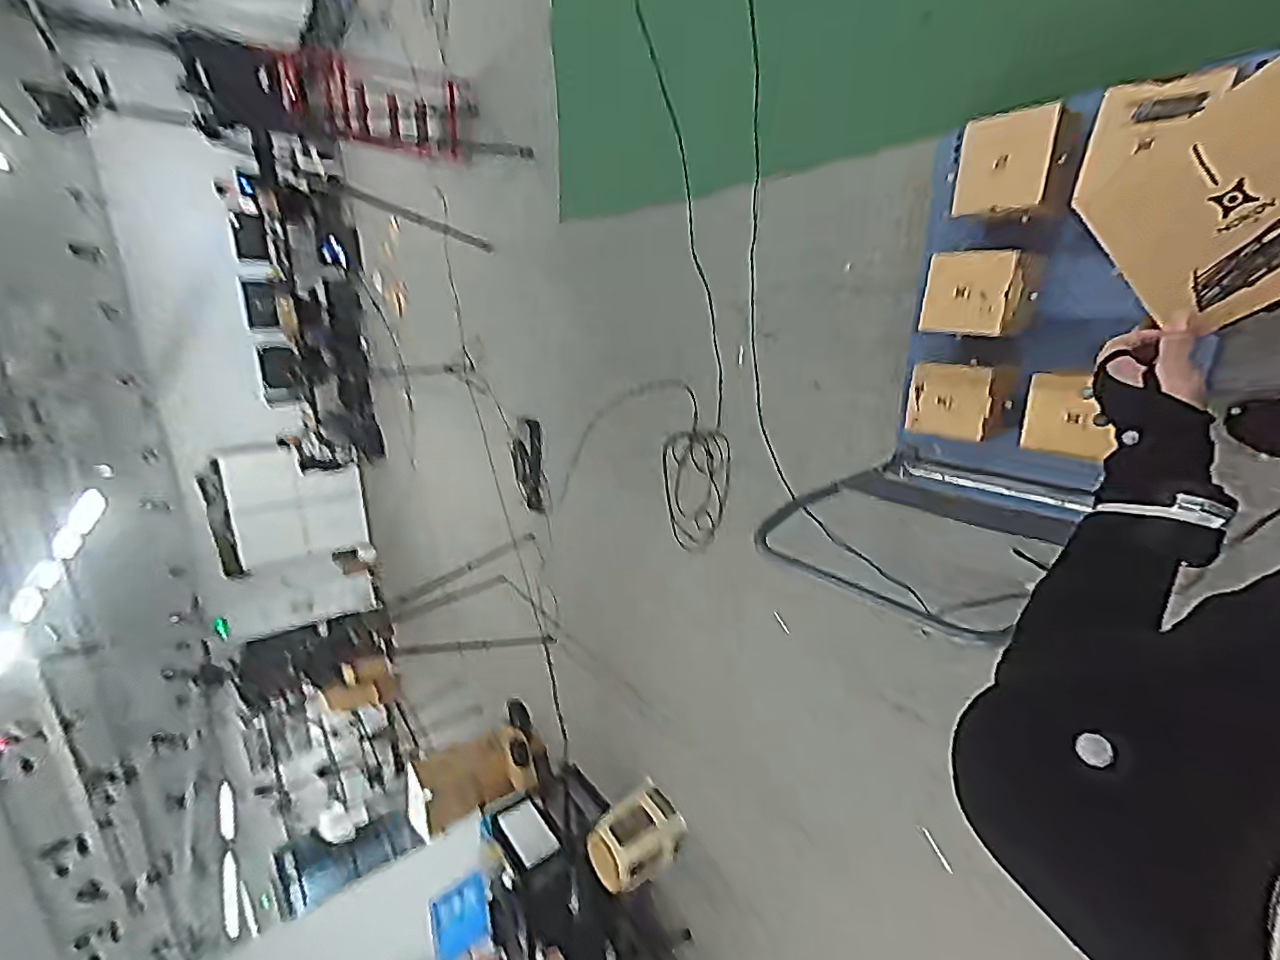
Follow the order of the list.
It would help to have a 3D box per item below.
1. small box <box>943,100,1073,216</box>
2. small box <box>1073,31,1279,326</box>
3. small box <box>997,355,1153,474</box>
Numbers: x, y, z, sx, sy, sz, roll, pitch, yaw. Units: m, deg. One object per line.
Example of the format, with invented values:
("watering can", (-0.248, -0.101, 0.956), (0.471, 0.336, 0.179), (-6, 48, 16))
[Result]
("small box", (0.768, -0.656, 1.129), (0.168, 0.176, 0.179), (21, 117, 47))
("small box", (0.556, -0.271, 0.502), (0.168, 0.176, 0.179), (-35, 80, 49))
("small box", (0.902, -0.140, 1.121), (0.168, 0.176, 0.179), (50, 136, 29))
